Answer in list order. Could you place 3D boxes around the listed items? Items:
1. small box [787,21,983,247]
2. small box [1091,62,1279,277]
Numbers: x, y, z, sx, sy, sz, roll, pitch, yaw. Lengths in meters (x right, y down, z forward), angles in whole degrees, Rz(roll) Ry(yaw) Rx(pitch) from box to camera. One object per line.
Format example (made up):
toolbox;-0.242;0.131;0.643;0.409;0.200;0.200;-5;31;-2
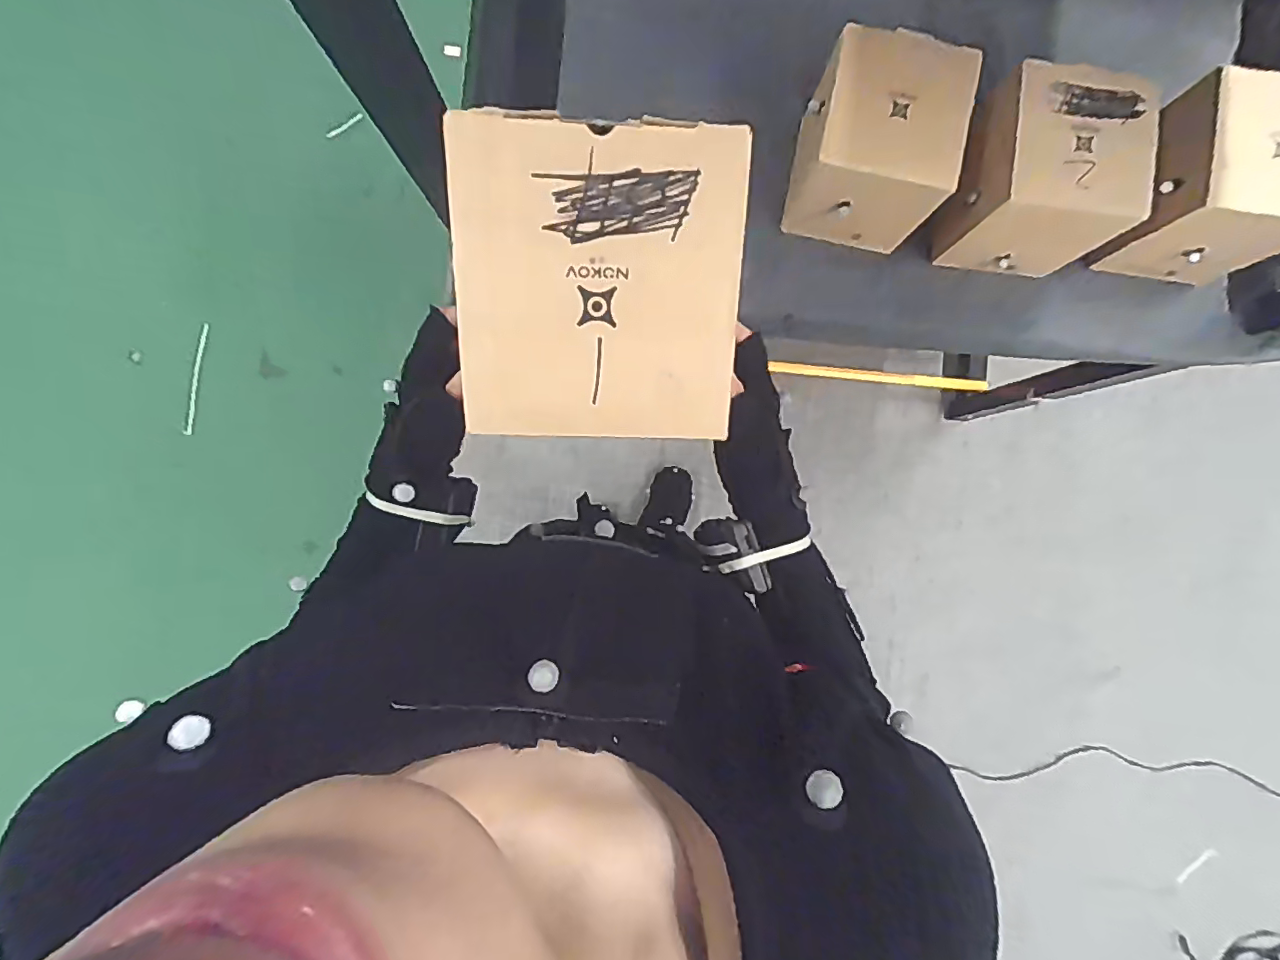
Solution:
small box;0.304;-0.435;0.710;0.168;0.176;0.179;12;87;0
small box;0.743;-0.388;0.708;0.168;0.176;0.179;9;87;0
